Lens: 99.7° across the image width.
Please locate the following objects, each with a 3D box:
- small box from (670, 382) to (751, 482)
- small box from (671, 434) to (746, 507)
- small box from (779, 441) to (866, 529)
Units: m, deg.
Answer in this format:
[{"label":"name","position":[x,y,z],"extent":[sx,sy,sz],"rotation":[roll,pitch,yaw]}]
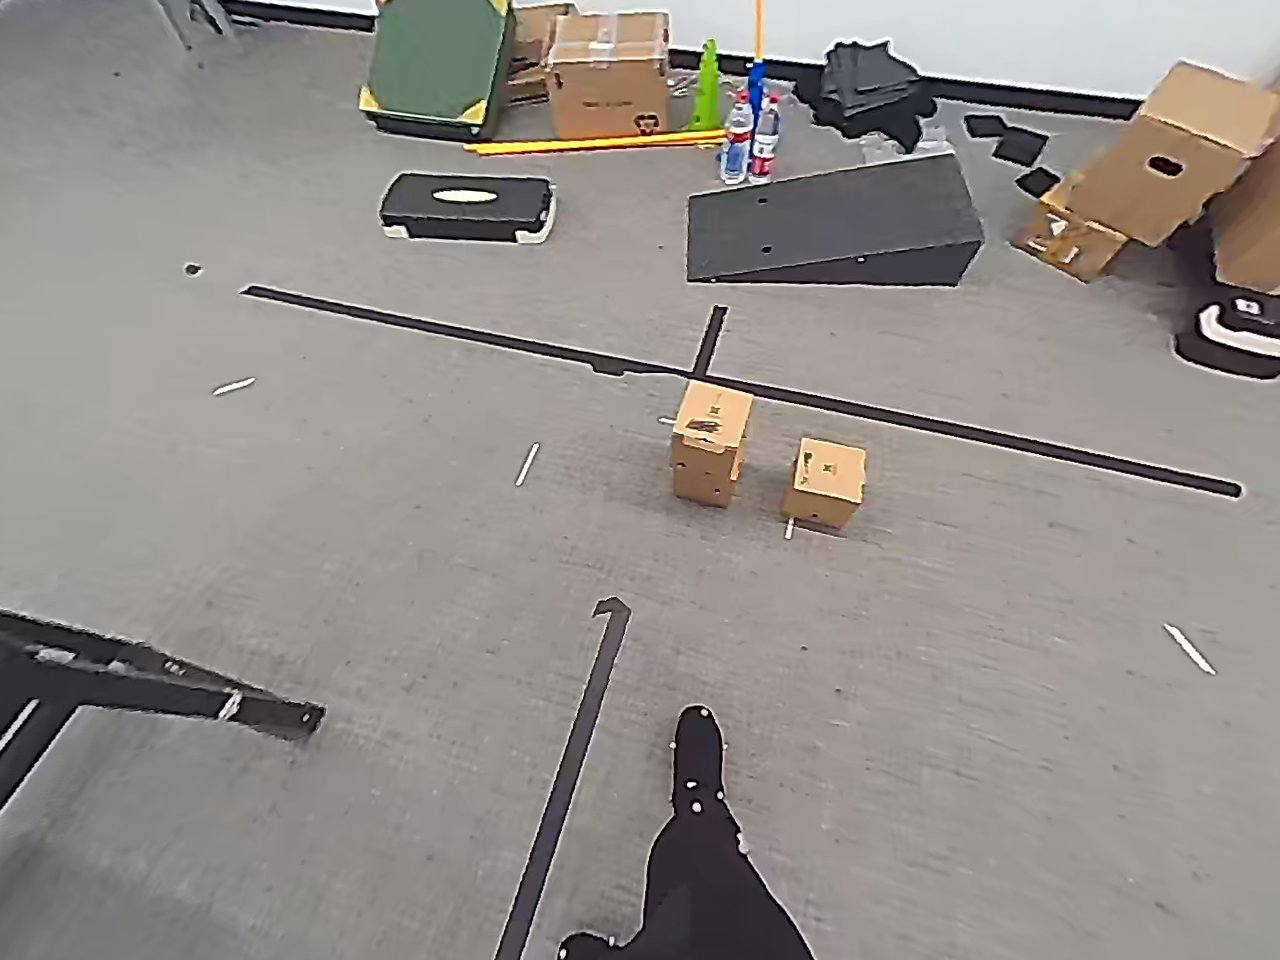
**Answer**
[{"label":"small box","position":[0.178,-0.118,1.396],"extent":[0.168,0.176,0.179],"rotation":[16,62,9]},{"label":"small box","position":[0.191,-0.040,1.540],"extent":[0.179,0.176,0.168],"rotation":[13,63,9]},{"label":"small box","position":[0.502,0.020,1.500],"extent":[0.179,0.176,0.168],"rotation":[14,63,8]}]
